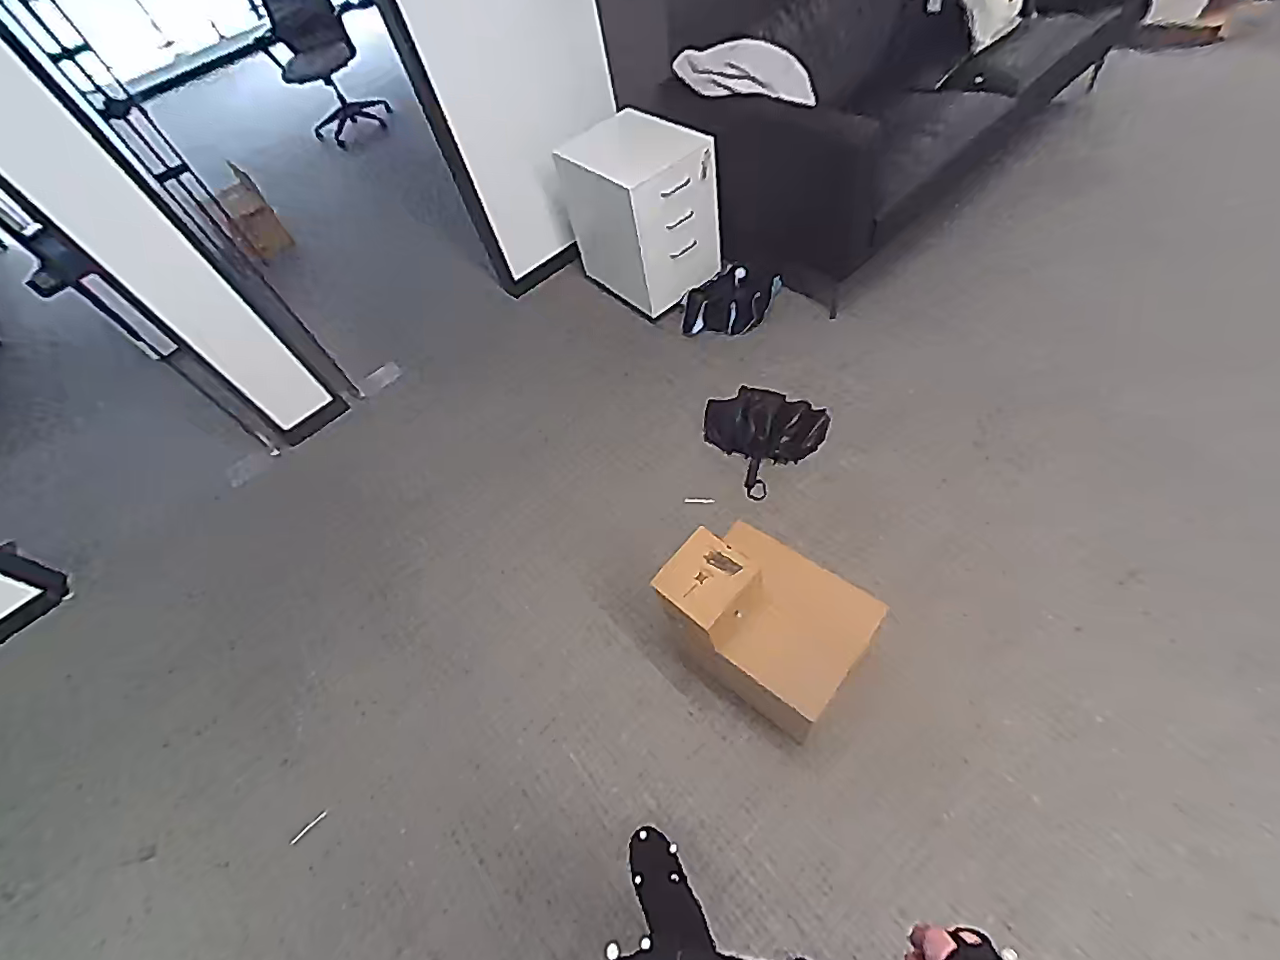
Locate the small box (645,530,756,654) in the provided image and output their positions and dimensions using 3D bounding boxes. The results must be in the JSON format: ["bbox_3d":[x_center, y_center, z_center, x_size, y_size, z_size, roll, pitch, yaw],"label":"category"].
[{"bbox_3d":[0.139,0.250,1.190,0.168,0.176,0.179,35,71,30],"label":"small box"}]
